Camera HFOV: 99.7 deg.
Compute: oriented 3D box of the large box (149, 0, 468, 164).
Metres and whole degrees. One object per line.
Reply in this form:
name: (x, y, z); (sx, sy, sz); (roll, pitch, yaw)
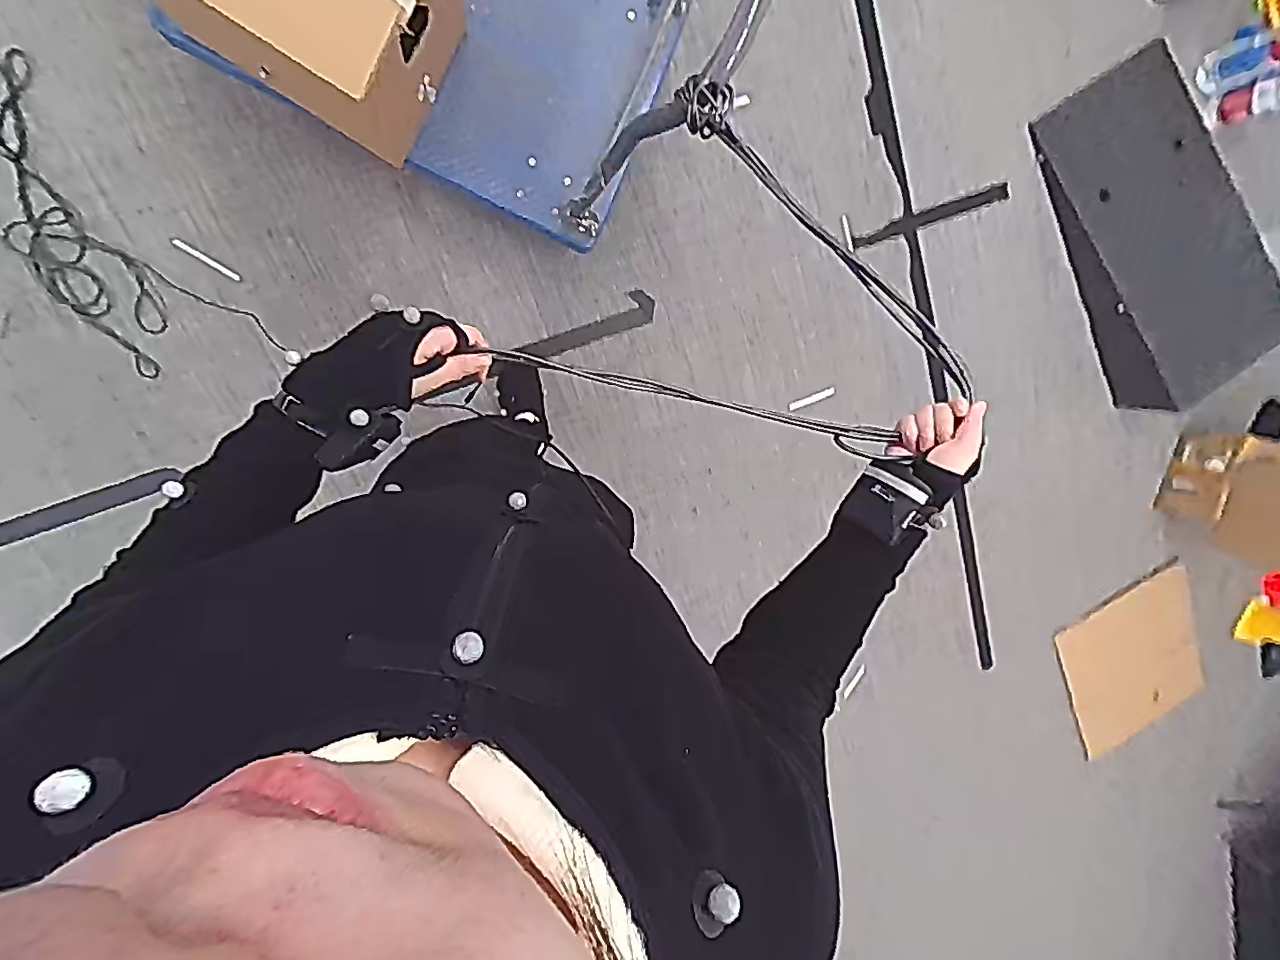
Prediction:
large box: (-0.540, -0.807, 0.871); (0.408, 0.320, 0.320); (27, 95, -17)
